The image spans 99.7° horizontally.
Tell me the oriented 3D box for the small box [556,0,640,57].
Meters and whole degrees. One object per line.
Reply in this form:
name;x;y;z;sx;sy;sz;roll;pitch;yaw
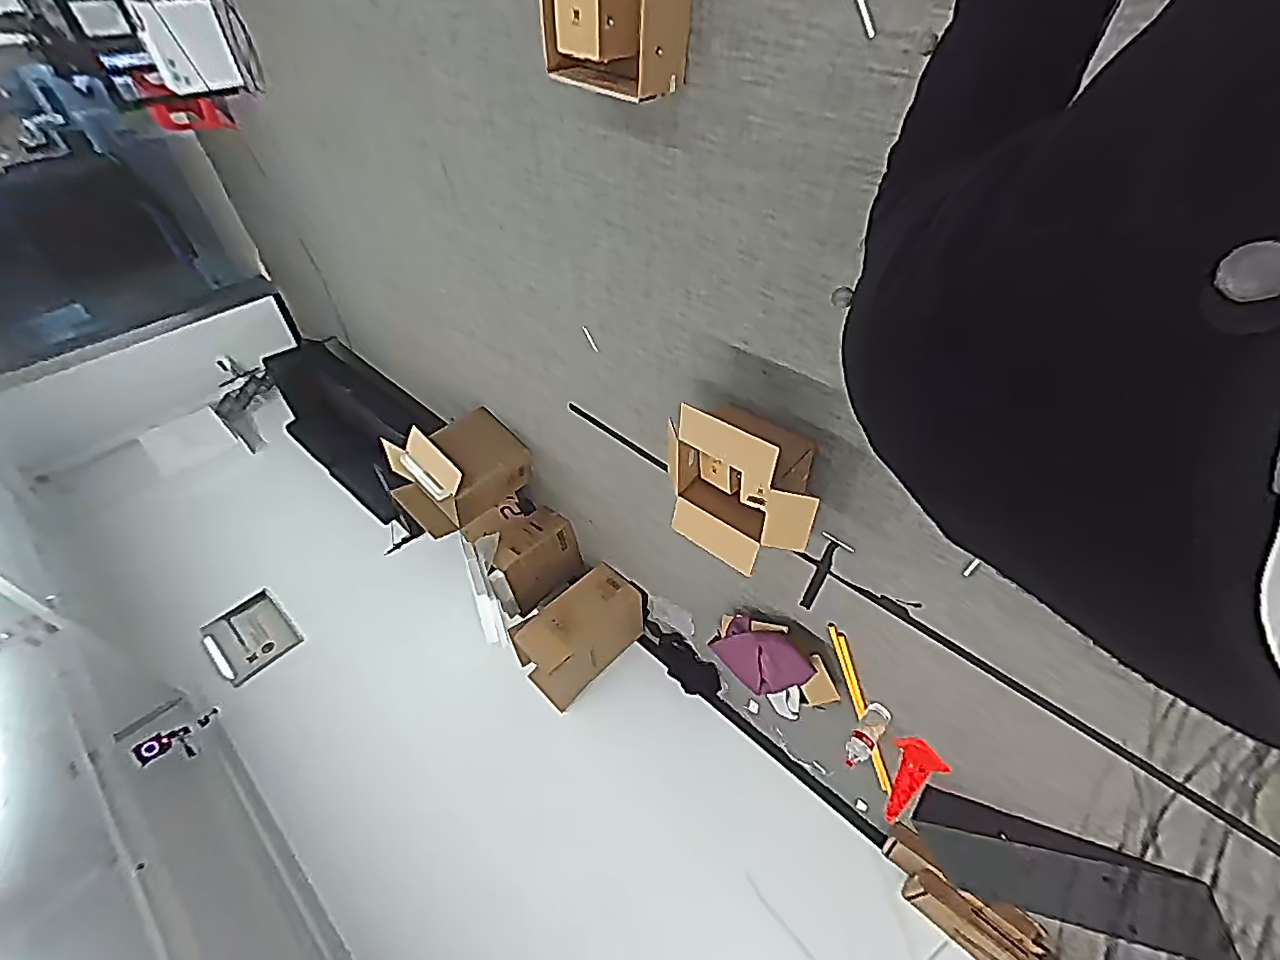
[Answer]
small box;-0.112;-1.294;1.485;0.168;0.176;0.179;33;143;25
